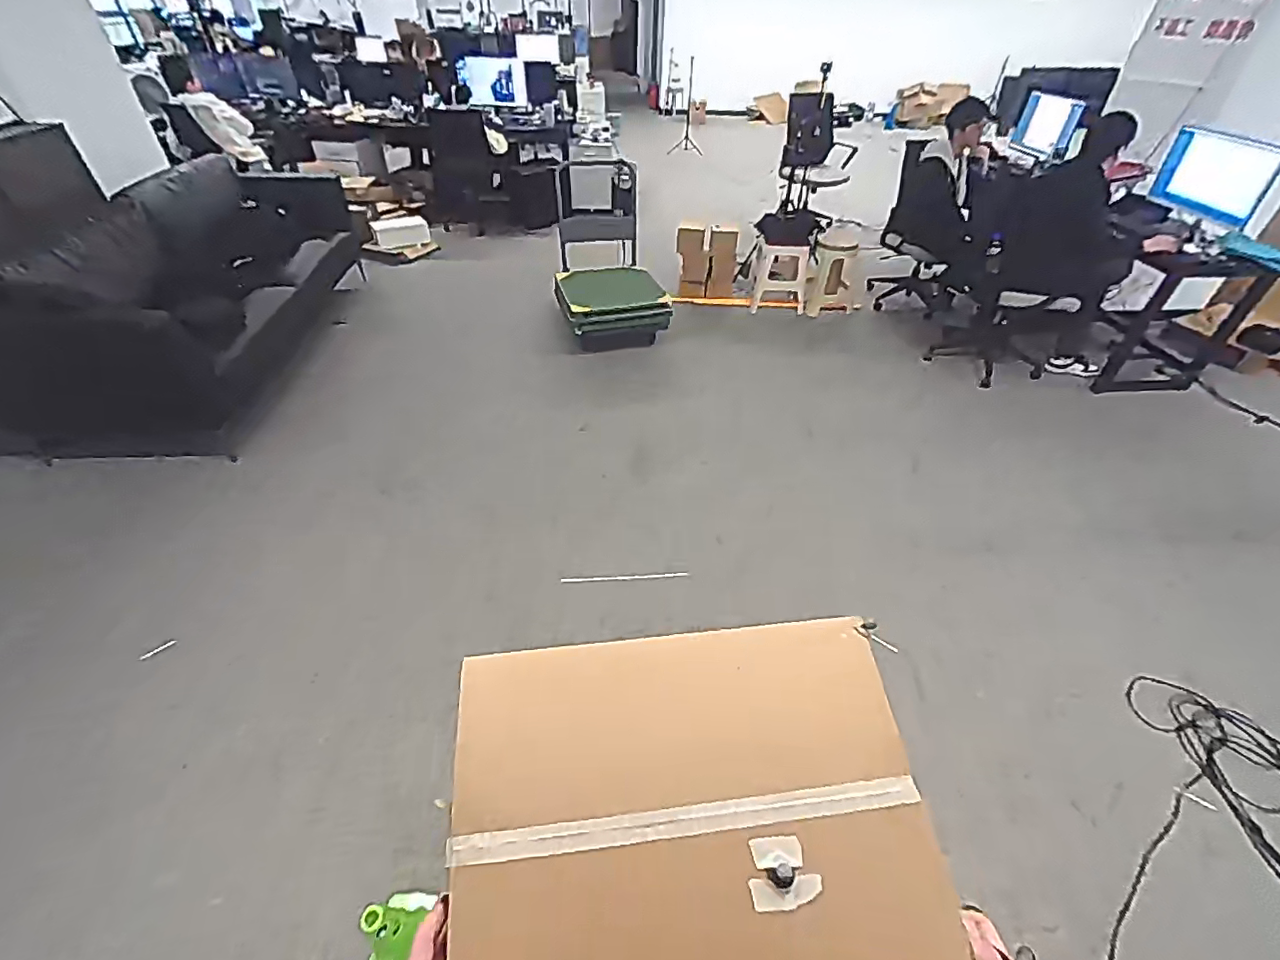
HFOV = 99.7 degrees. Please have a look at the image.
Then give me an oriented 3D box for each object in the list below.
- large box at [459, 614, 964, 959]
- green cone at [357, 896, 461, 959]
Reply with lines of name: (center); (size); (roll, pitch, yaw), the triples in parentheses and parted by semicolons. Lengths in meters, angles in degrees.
large box: (0.039, 0.368, 0.604); (0.408, 0.320, 0.320); (-5, 60, -5)
green cone: (-0.505, 0.950, 1.114); (0.200, 0.368, 0.202); (2, 43, 1)
